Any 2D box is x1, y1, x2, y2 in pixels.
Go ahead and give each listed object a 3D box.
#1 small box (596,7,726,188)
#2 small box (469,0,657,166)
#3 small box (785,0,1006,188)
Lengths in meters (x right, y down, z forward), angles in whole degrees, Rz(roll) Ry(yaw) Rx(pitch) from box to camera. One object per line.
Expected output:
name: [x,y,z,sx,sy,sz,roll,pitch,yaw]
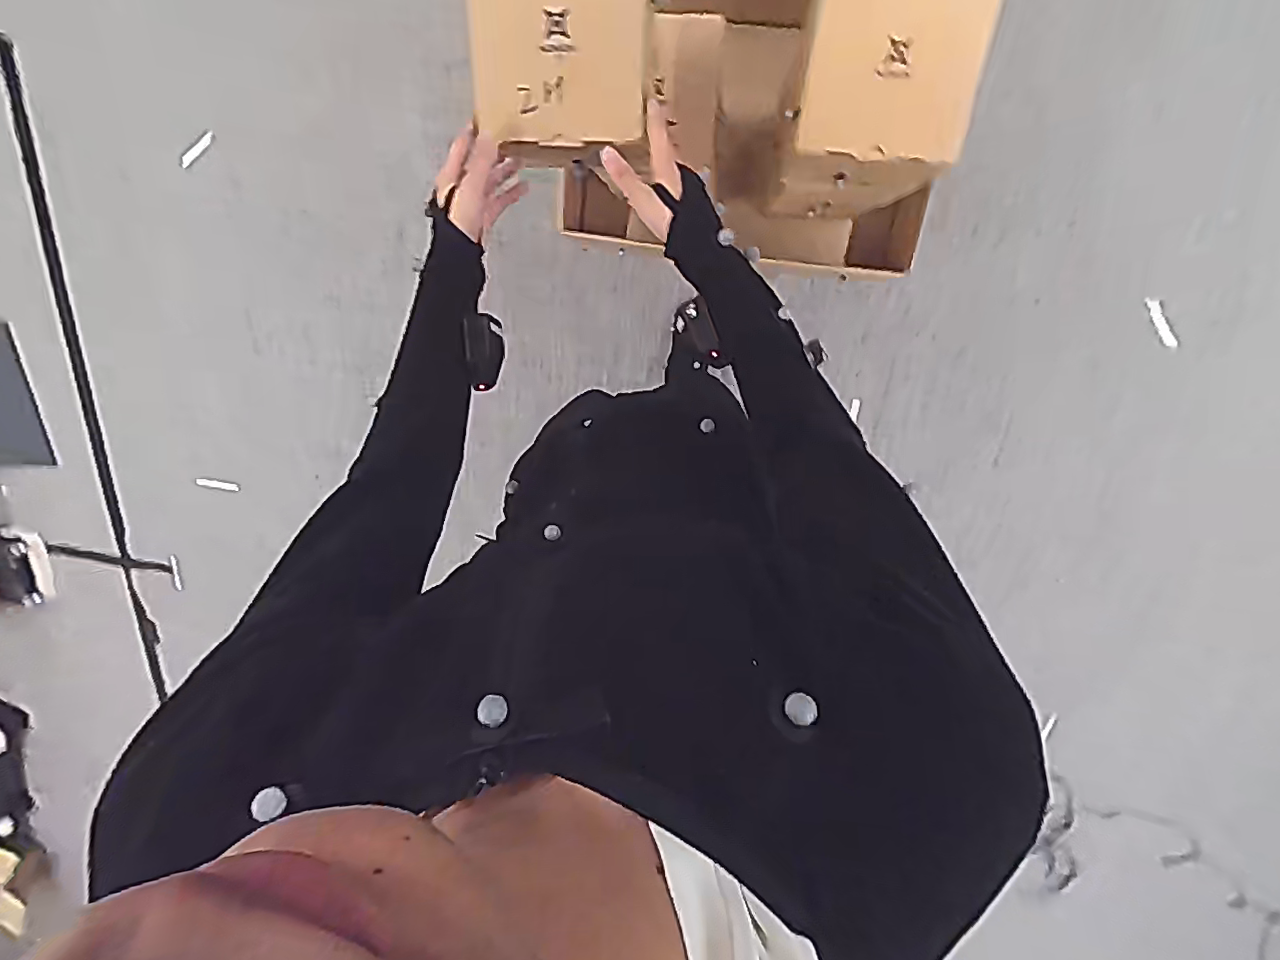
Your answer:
small box: [0.030,-0.531,0.775,0.168,0.176,0.179,6,108,5]
small box: [-0.070,-0.445,0.571,0.168,0.176,0.179,3,114,4]
small box: [0.265,-0.442,0.601,0.168,0.176,0.179,8,112,5]
